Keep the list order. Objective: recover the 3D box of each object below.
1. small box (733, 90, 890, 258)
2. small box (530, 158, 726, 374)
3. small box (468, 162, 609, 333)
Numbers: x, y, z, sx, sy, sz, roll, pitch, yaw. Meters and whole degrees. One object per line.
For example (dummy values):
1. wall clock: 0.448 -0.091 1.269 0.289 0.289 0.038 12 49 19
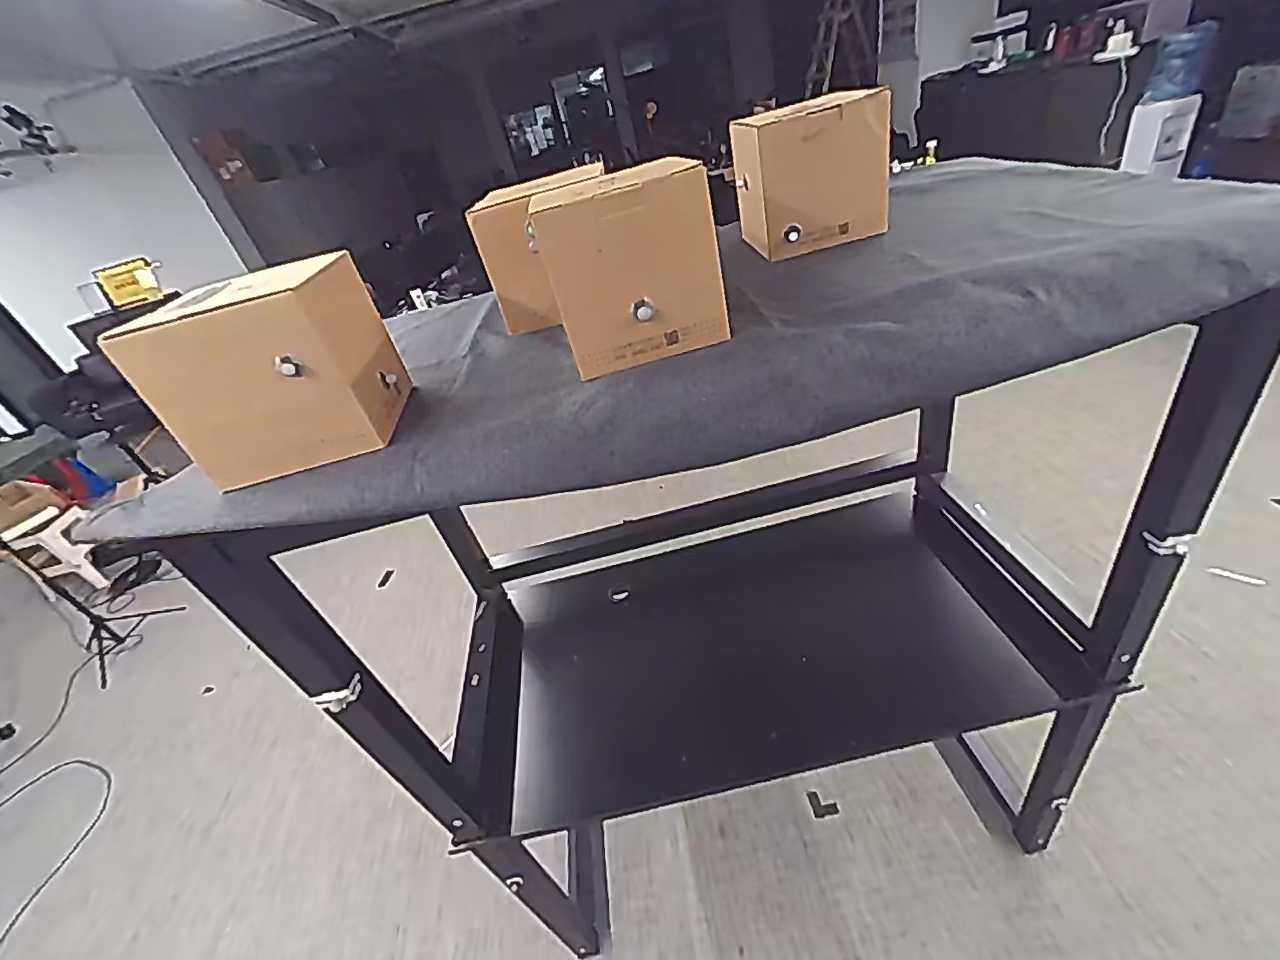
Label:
1. small box: 0.239 -0.432 0.772 0.168 0.176 0.179 -13 34 4
2. small box: -0.012 -0.237 0.595 0.168 0.176 0.179 -15 34 1
3. small box: -0.113 -0.330 0.770 0.179 0.176 0.168 -12 35 6
